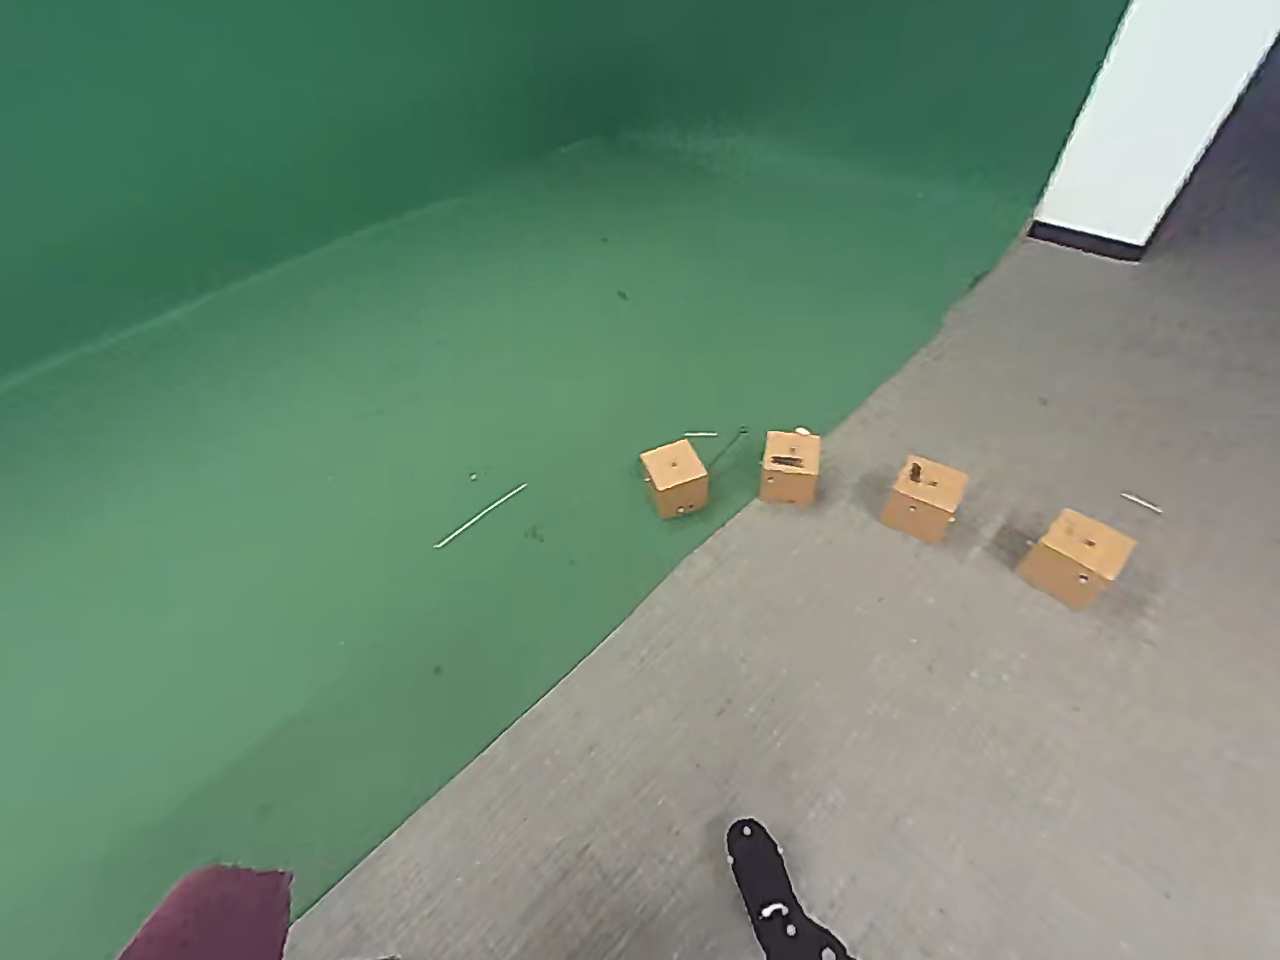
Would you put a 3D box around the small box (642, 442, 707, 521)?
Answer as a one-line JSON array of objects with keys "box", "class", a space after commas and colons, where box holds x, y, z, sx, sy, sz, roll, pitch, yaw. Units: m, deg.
[{"box": [0.115, 0.008, 1.815, 0.168, 0.176, 0.179, -19, 50, -8], "class": "small box"}]

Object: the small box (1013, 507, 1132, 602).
[{"box": [1.191, 0.214, 1.500, 0.168, 0.176, 0.179, -38, 56, -23], "class": "small box"}]

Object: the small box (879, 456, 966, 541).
[{"box": [0.866, 0.060, 1.671, 0.179, 0.176, 0.168, 25, 58, 25], "class": "small box"}]
